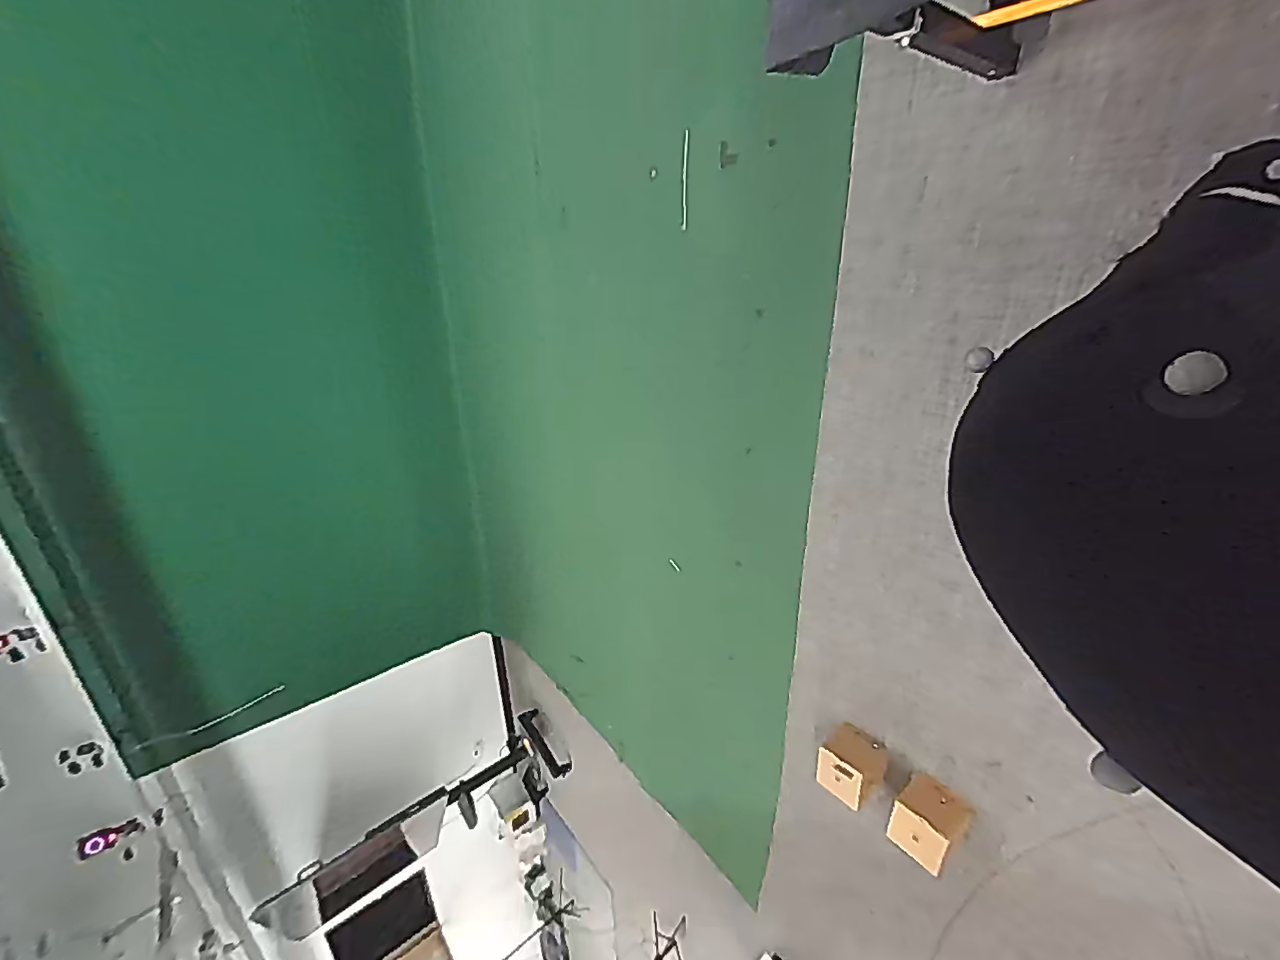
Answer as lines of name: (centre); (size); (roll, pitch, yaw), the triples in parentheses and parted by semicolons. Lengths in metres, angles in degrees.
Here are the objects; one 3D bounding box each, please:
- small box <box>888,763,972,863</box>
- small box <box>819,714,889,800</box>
small box: (0.929, 1.058, 1.730); (0.168, 0.176, 0.179); (28, 126, 46)
small box: (0.763, 0.978, 1.926); (0.168, 0.176, 0.179); (24, 123, 48)
